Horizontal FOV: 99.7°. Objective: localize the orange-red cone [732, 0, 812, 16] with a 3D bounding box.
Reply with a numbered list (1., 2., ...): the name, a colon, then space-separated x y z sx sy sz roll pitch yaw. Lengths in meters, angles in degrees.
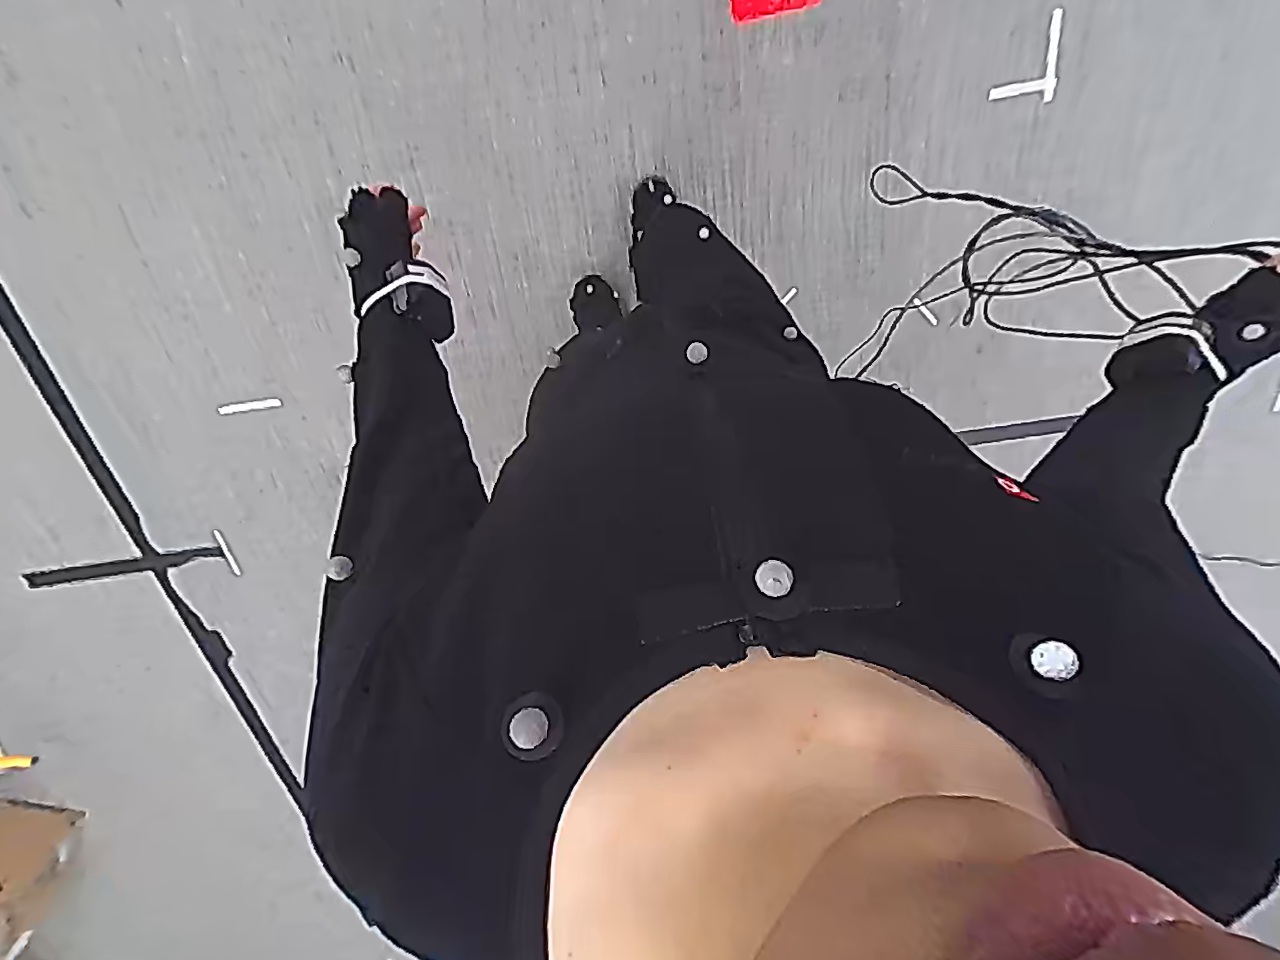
1. orange-red cone: 0.284 -1.006 0.934 0.199 0.360 0.198 -13 113 1
